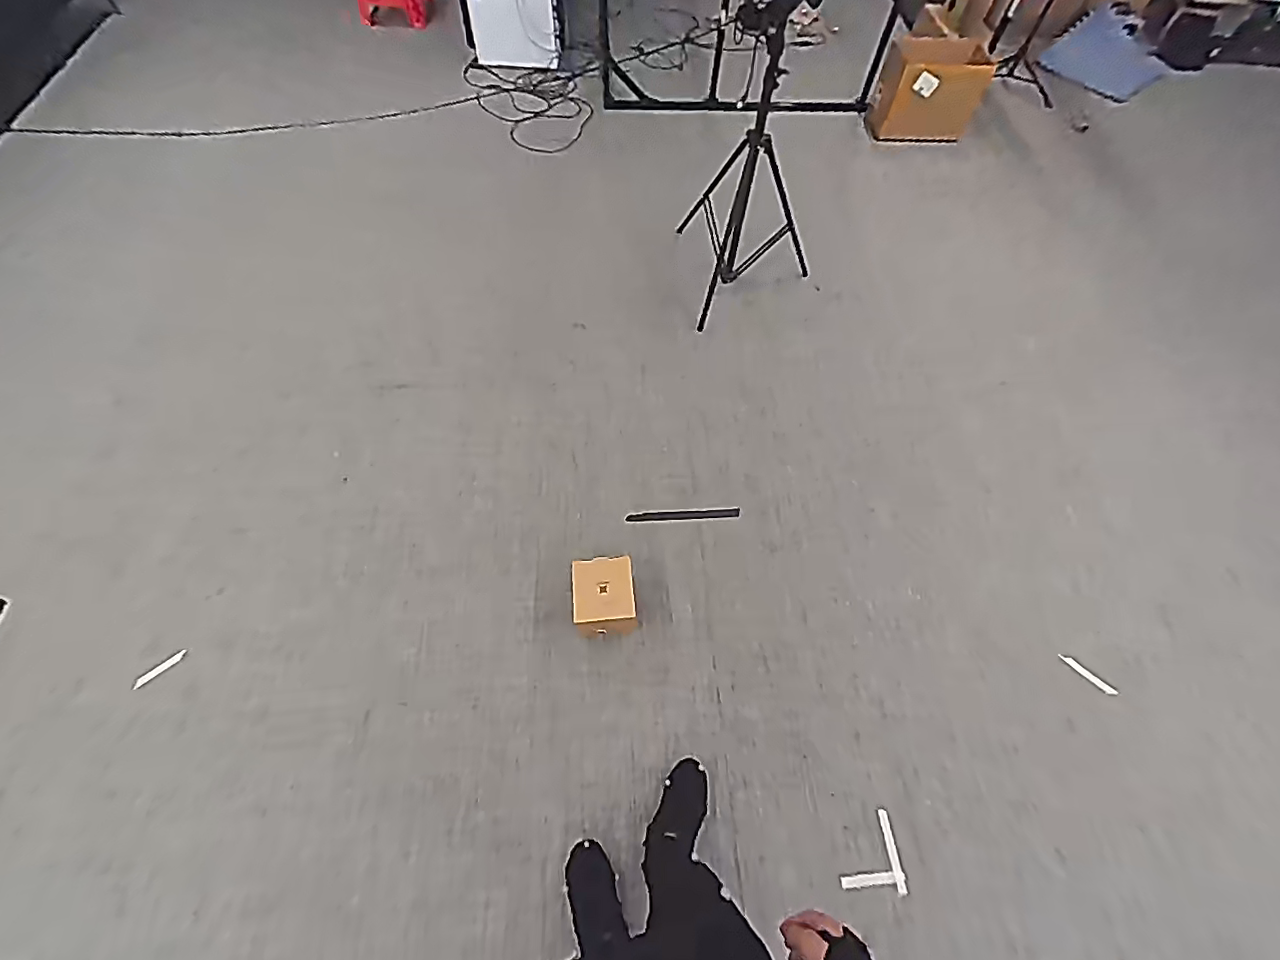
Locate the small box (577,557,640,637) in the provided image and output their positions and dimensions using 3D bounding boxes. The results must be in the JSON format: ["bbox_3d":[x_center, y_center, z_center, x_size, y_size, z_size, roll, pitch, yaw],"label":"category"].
[{"bbox_3d":[-0.091,0.335,1.534,0.168,0.176,0.179,-4,61,-3],"label":"small box"}]
